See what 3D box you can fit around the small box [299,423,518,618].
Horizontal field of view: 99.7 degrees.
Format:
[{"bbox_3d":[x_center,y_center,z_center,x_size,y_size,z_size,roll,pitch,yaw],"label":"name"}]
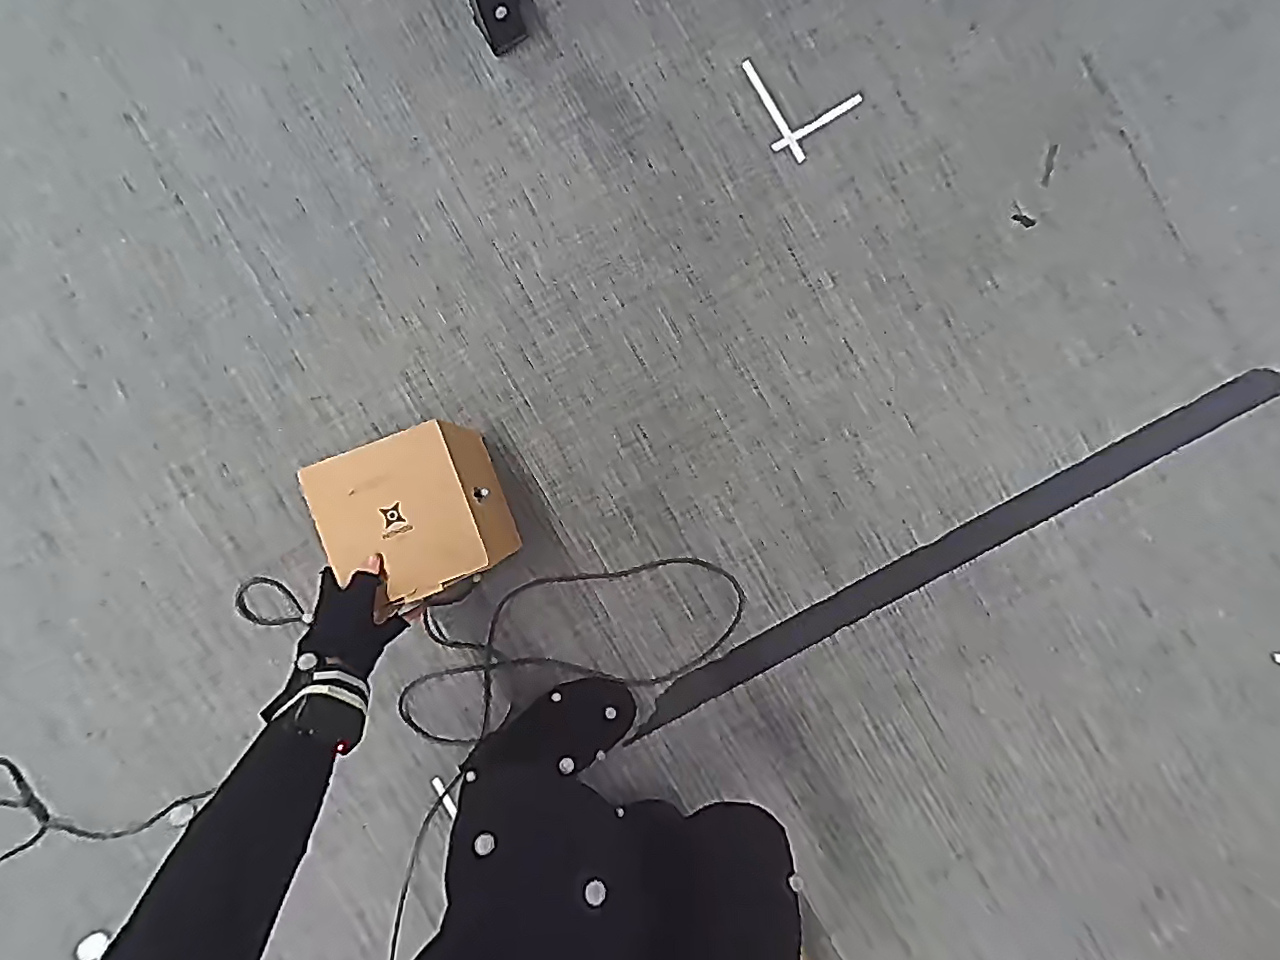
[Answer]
[{"bbox_3d":[-0.269,0.044,0.672,0.168,0.176,0.179,-22,89,-1],"label":"small box"}]
